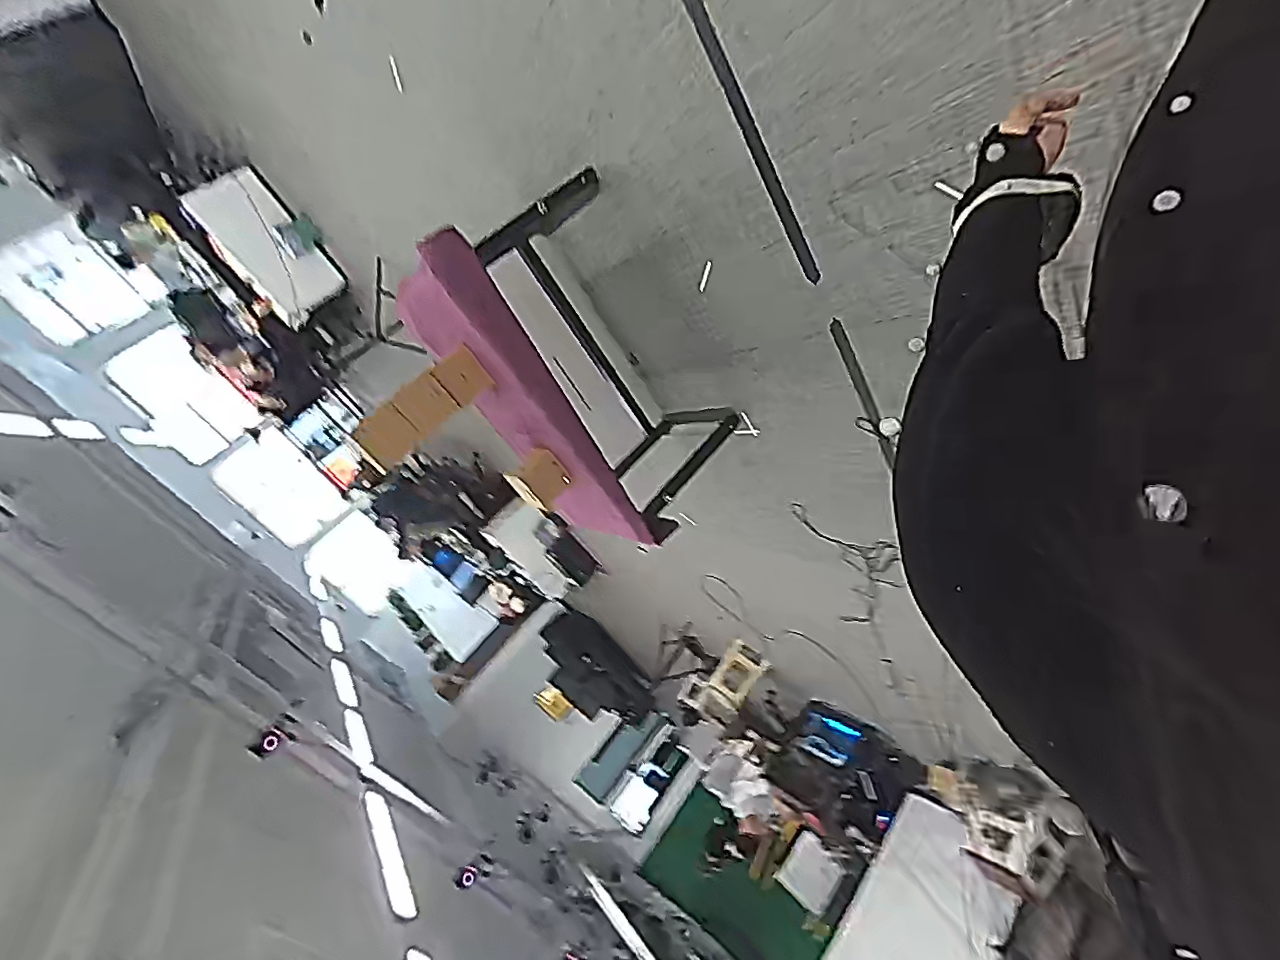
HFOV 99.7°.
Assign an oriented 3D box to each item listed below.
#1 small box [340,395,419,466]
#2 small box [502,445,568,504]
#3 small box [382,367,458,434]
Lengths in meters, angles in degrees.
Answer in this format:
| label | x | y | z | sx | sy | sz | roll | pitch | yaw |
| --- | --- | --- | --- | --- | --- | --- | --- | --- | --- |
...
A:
| label | x | y | z | sx | sy | sz | roll | pitch | yaw |
| --- | --- | --- | --- | --- | --- | --- | --- | --- | --- |
| small box | -0.878 | -0.165 | 1.828 | 0.179 | 0.176 | 0.168 | 52 | 156 | -21 |
| small box | -0.411 | -0.026 | 2.149 | 0.179 | 0.176 | 0.168 | 7 | 137 | 56 |
| small box | -0.771 | -0.275 | 1.882 | 0.179 | 0.176 | 0.168 | 52 | 156 | -20 |
